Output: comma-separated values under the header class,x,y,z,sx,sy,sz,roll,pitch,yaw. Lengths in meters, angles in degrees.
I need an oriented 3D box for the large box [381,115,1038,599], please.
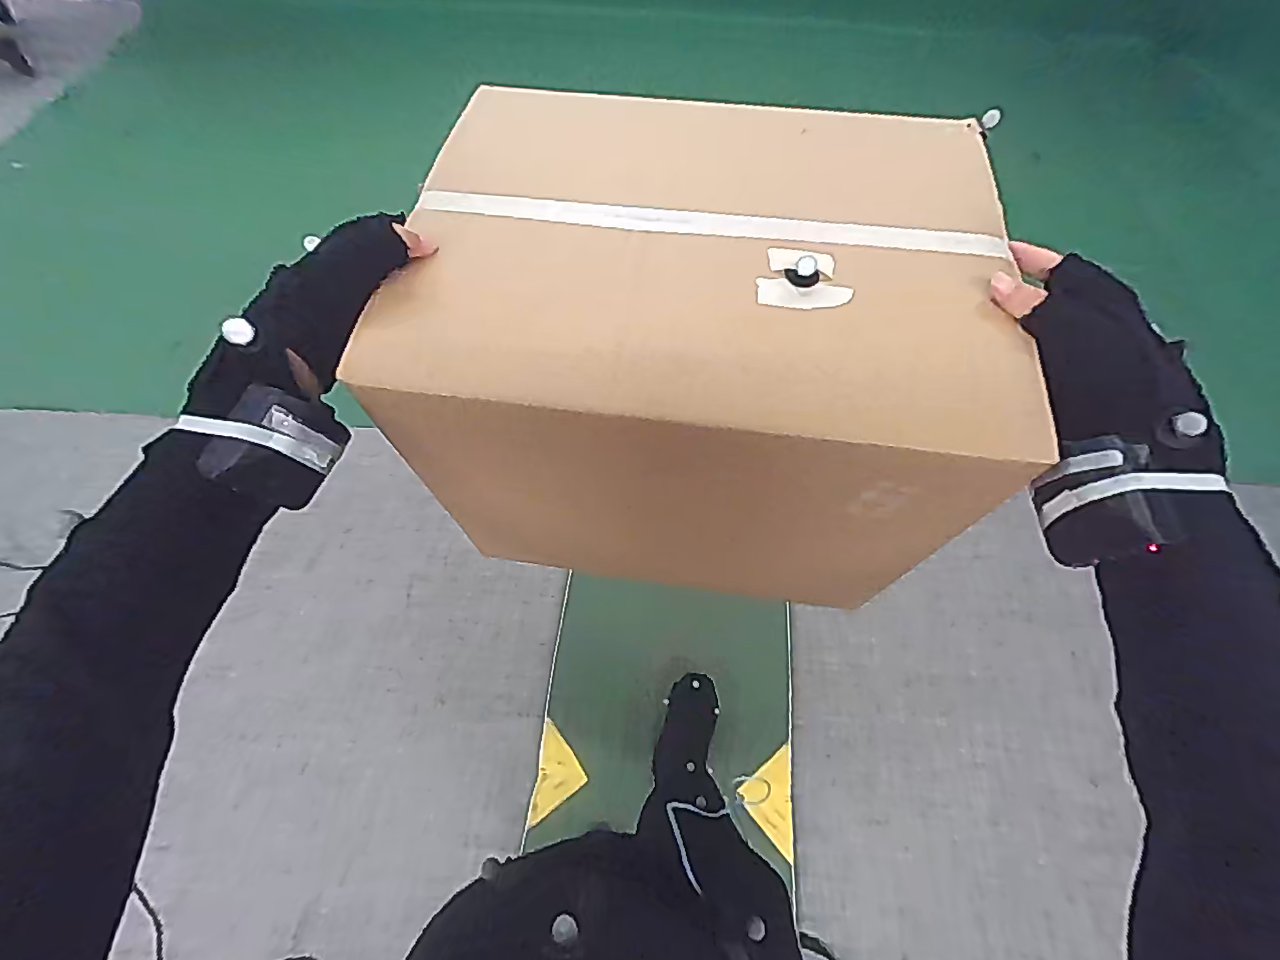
class,x,y,z,sx,sy,sz,roll,pitch,yaw
large box,0.051,-0.096,0.522,0.408,0.320,0.320,7,63,4
